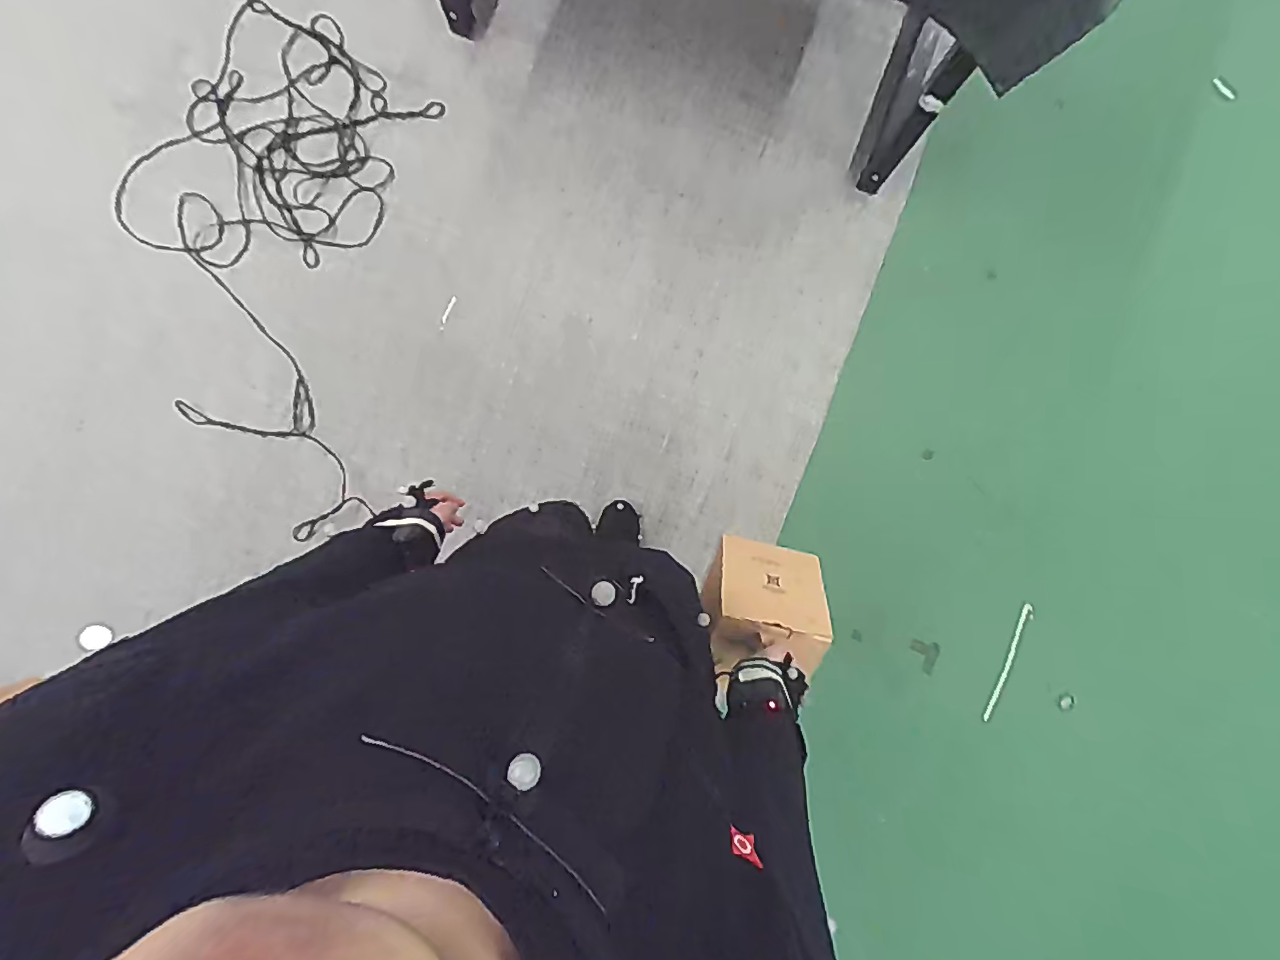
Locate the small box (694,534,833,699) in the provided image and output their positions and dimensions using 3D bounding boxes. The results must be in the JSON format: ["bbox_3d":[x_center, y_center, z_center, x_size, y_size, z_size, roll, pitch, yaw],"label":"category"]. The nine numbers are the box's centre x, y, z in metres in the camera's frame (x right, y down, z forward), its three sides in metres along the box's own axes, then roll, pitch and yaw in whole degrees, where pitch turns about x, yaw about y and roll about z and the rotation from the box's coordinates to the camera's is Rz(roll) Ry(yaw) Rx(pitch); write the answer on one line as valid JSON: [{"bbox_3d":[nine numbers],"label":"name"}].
[{"bbox_3d":[0.188,0.220,0.869,0.168,0.179,0.176,14,124,-1],"label":"small box"}]
